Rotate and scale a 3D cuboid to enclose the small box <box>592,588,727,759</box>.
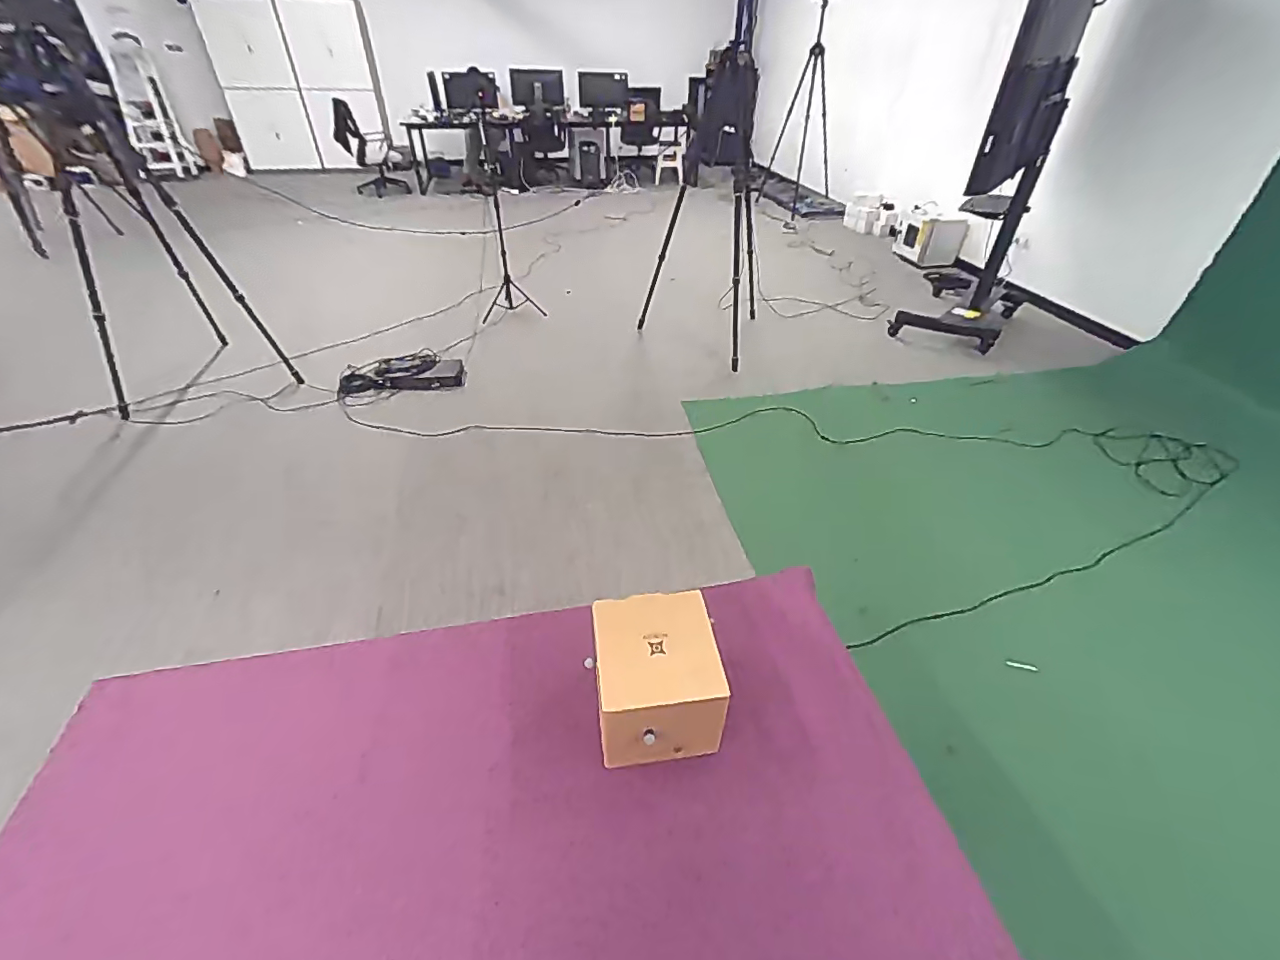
[{"bbox_3d":[0.022,0.286,0.792,0.168,0.176,0.179,-5,39,-6],"label":"small box"}]
